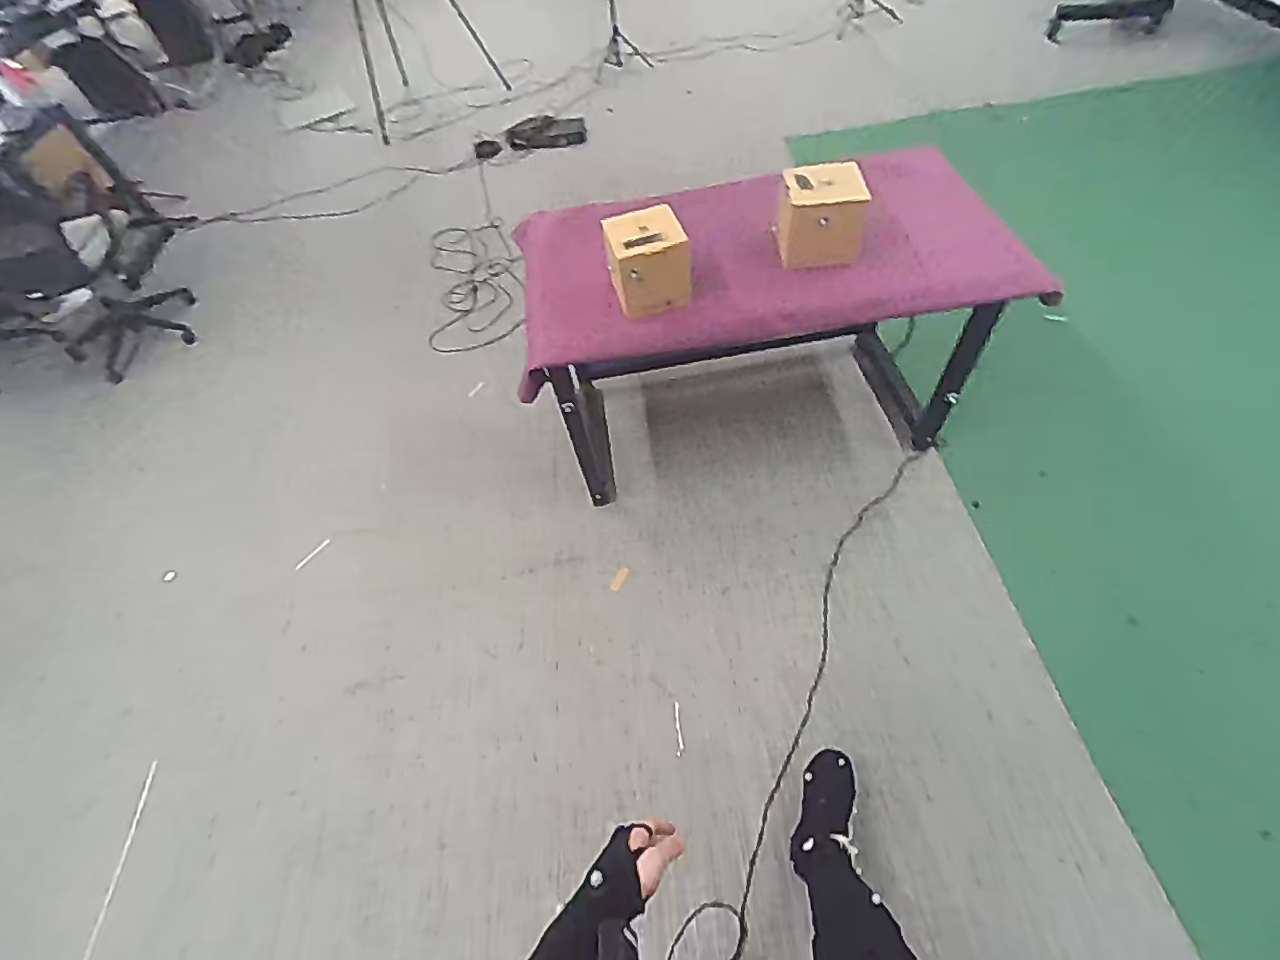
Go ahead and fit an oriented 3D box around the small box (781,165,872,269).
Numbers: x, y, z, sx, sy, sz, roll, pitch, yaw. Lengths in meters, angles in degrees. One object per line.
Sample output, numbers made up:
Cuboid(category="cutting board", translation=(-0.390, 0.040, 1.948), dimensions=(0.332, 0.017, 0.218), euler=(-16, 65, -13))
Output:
Cuboid(category="small box", translation=(0.444, -0.636, 1.322), dimensions=(0.179, 0.176, 0.168), euler=(-2, 56, 5))
